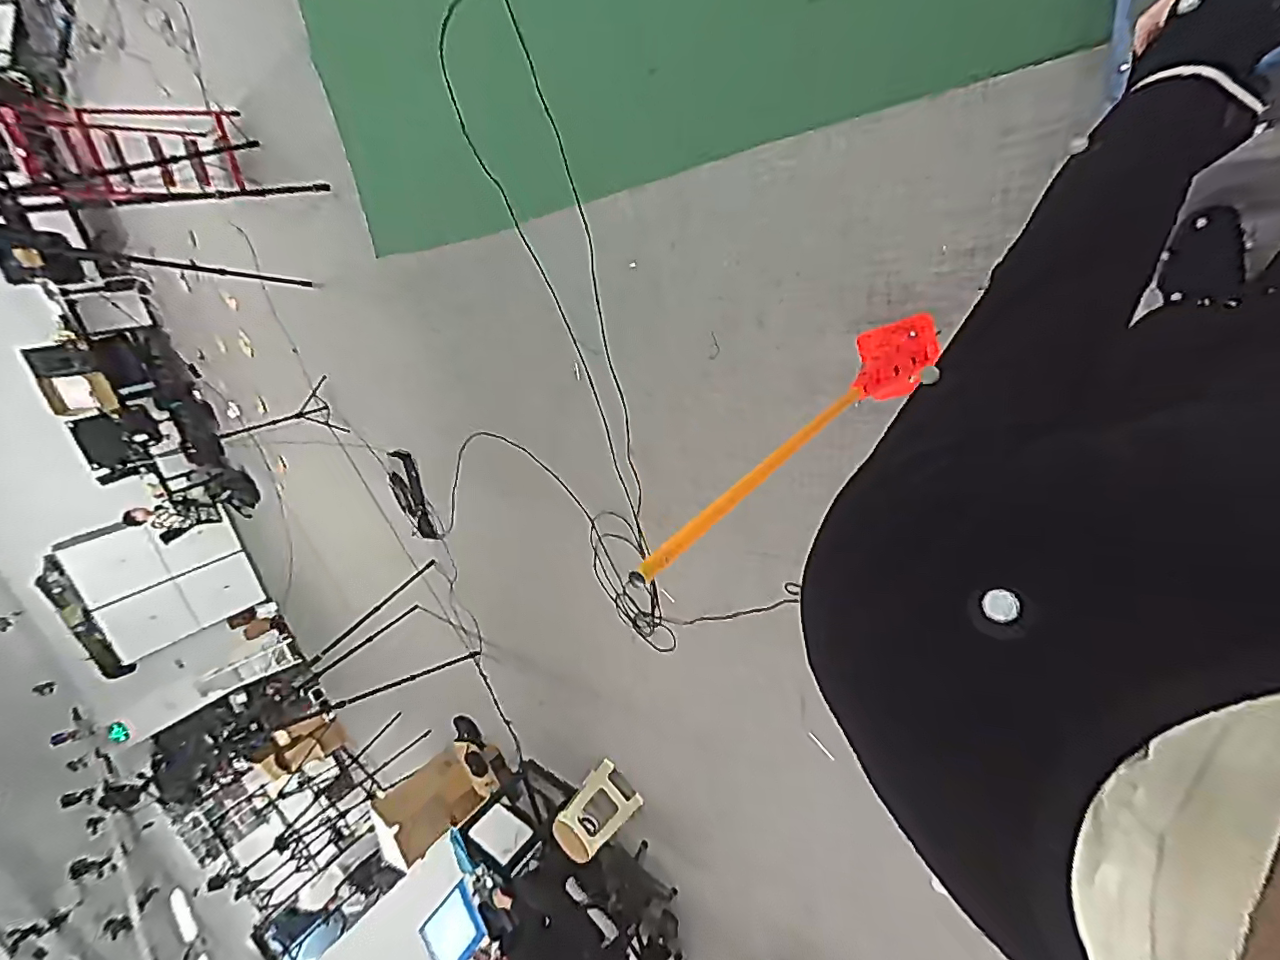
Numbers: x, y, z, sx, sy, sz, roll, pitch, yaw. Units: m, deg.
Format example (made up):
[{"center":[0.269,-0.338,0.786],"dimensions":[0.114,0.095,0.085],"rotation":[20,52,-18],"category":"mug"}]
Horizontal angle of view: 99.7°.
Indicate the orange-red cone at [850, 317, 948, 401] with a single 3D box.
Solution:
[{"center":[0.611,-0.262,1.361],"dimensions":[0.199,0.360,0.198],"rotation":[-10,105,46],"category":"orange-red cone"}]
